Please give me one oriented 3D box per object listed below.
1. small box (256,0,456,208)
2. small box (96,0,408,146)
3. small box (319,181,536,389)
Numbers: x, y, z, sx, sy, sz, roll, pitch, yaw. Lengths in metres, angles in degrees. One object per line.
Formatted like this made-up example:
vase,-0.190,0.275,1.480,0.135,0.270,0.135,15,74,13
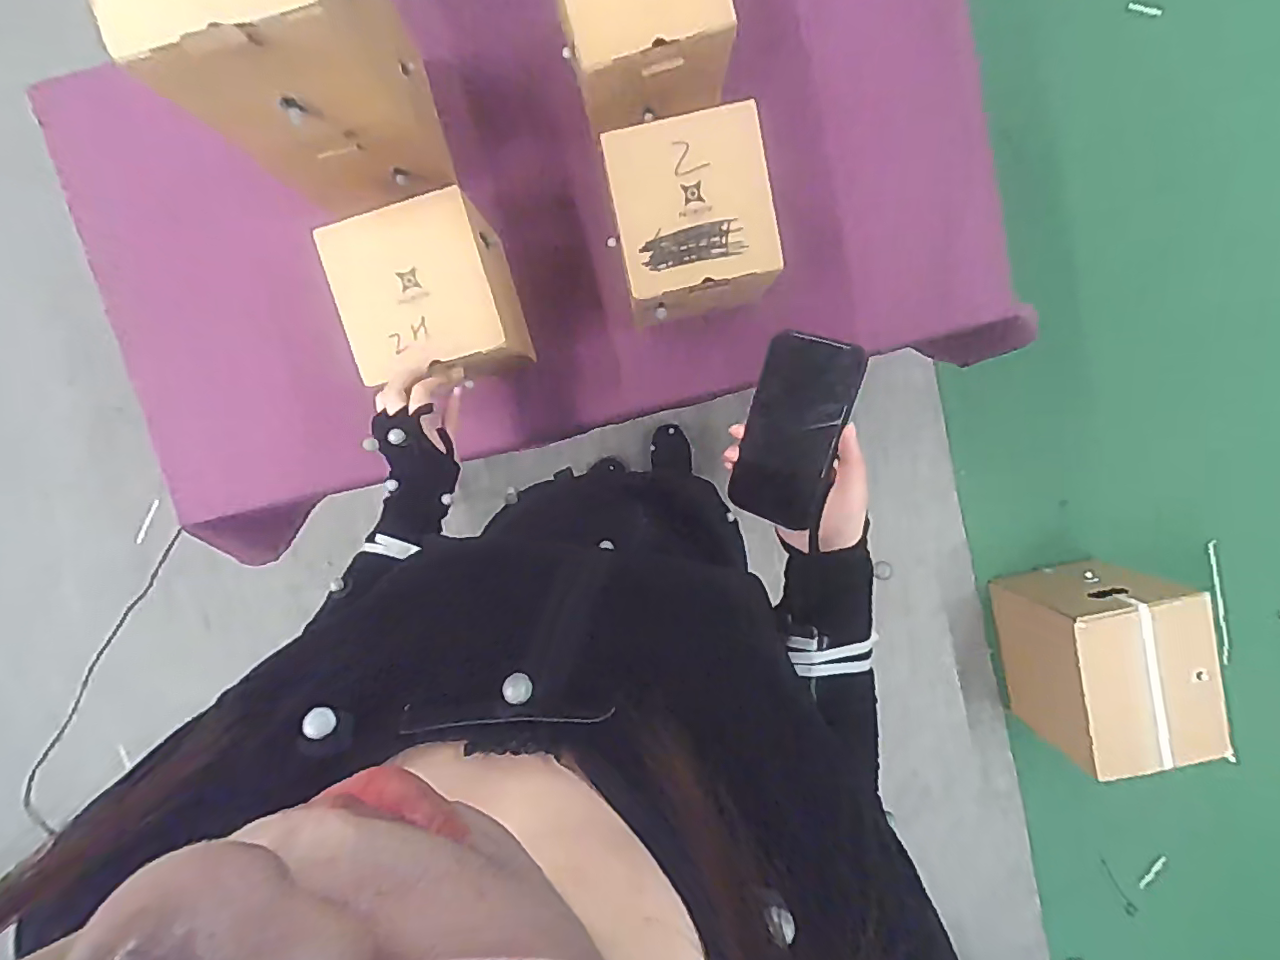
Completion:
small box,-0.336,-0.443,0.632,0.168,0.176,0.179,-14,97,1
small box,-0.329,-0.422,0.469,0.168,0.176,0.179,-14,97,1
small box,-0.240,-0.219,0.658,0.168,0.176,0.179,-16,96,3
